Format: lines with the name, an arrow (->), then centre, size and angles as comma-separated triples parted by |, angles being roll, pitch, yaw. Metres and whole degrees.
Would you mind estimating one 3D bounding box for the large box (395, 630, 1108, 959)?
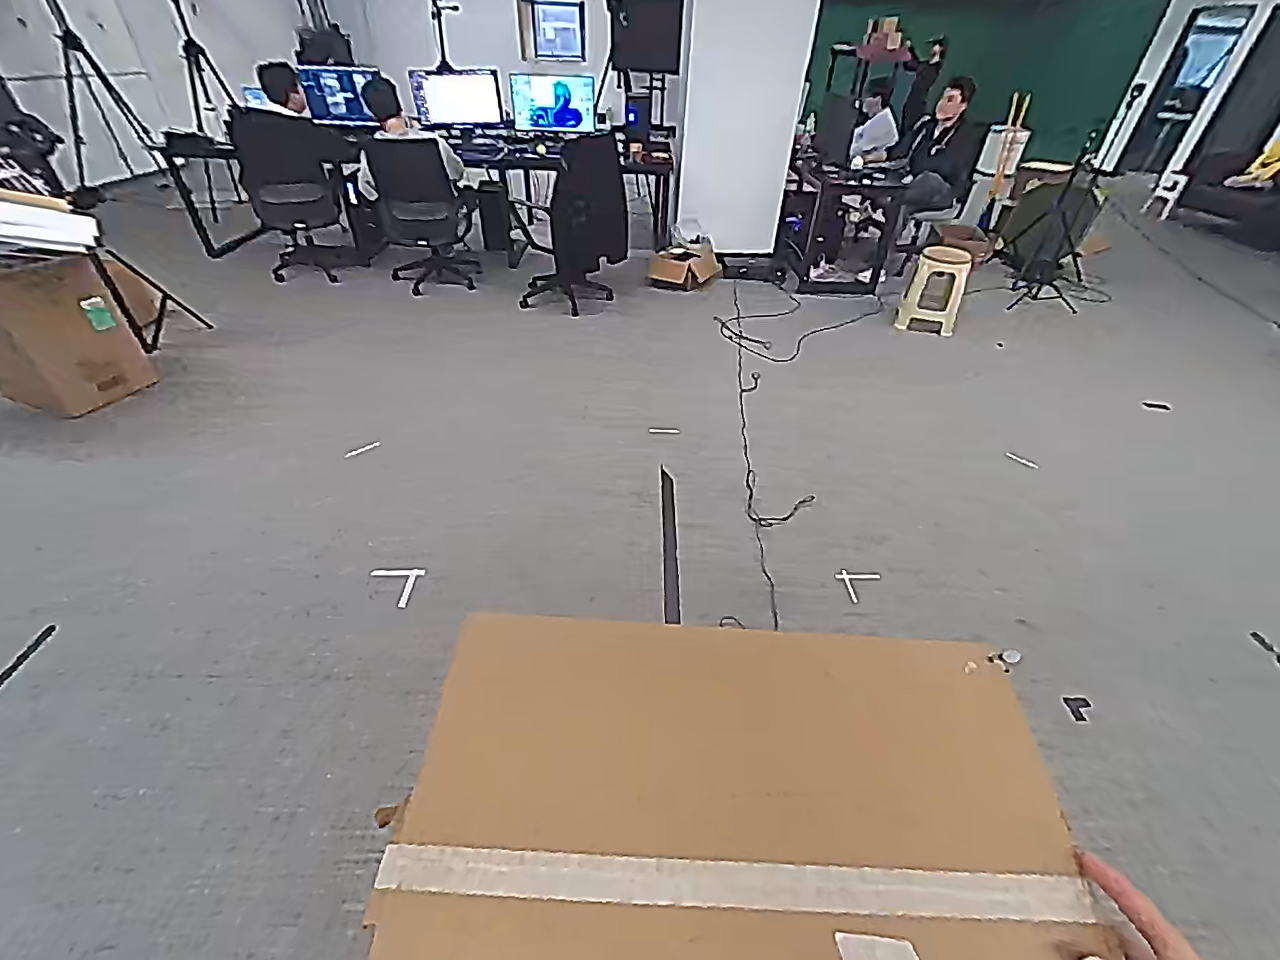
large box -> 0.056, 0.336, 0.430 | 0.408, 0.320, 0.320 | 4, 50, -2
